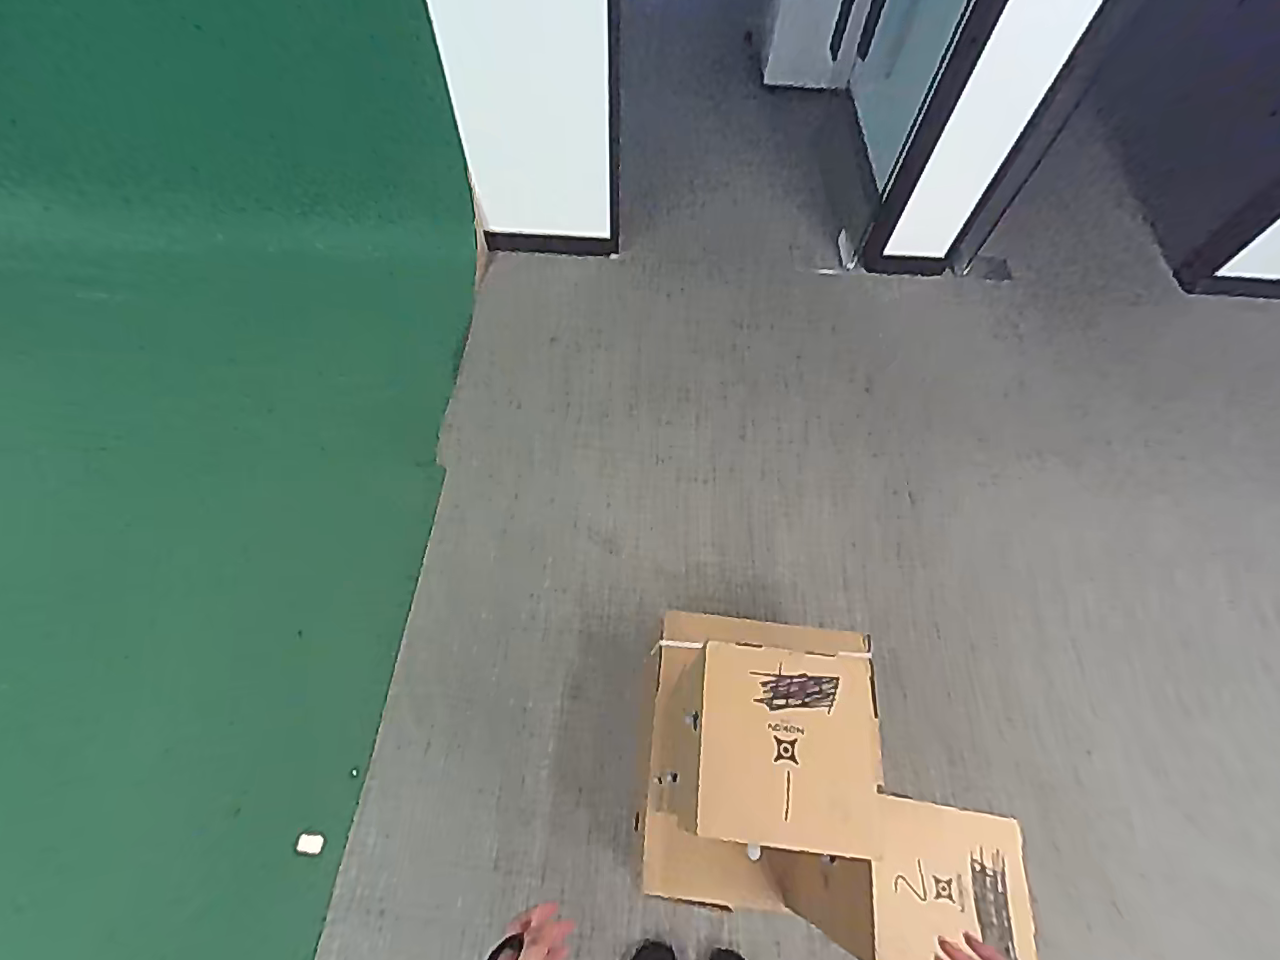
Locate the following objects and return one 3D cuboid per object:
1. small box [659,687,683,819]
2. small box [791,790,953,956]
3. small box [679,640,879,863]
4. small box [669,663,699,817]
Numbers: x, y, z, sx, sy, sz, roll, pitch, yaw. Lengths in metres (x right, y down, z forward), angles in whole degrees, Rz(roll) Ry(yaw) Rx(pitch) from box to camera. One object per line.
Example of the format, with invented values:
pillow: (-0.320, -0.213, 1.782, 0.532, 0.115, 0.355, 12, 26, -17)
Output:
small box: (0.121, 0.448, 0.868, 0.168, 0.176, 0.179, 6, 58, 2)
small box: (0.326, 0.564, 0.803, 0.168, 0.176, 0.179, 8, 58, 2)
small box: (0.135, 0.289, 0.583, 0.168, 0.176, 0.179, 7, 60, 2)
small box: (0.130, 0.362, 0.730, 0.168, 0.176, 0.179, 6, 59, 1)
